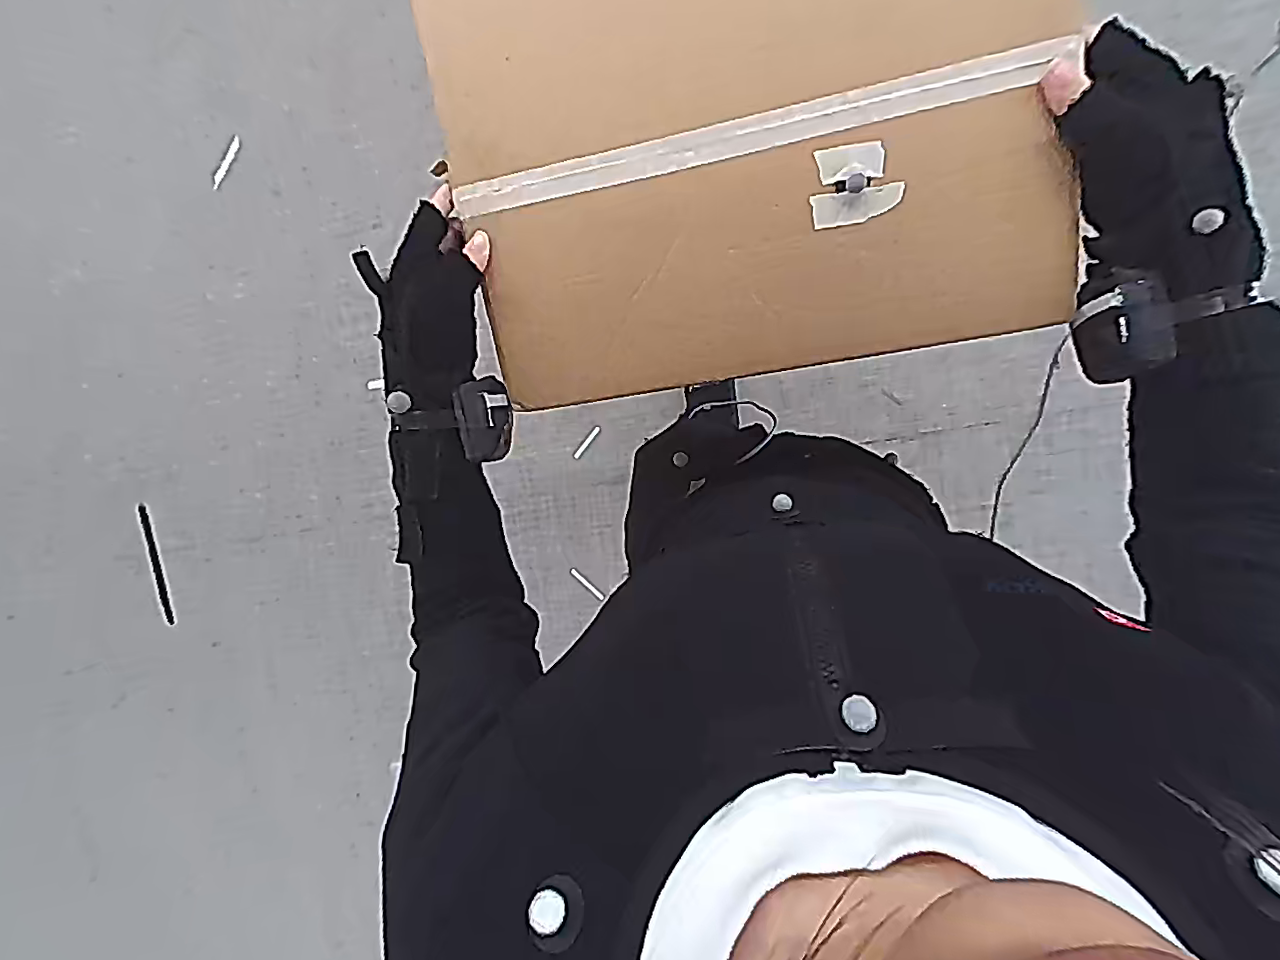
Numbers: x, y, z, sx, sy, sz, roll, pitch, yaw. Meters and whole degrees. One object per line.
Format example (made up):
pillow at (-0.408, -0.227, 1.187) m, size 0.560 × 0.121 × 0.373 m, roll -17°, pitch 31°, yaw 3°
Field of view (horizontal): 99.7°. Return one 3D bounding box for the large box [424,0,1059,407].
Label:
large box at (0.085, -0.274, 0.515) m, size 0.408 × 0.320 × 0.320 m, roll -9°, pitch 106°, yaw 9°
